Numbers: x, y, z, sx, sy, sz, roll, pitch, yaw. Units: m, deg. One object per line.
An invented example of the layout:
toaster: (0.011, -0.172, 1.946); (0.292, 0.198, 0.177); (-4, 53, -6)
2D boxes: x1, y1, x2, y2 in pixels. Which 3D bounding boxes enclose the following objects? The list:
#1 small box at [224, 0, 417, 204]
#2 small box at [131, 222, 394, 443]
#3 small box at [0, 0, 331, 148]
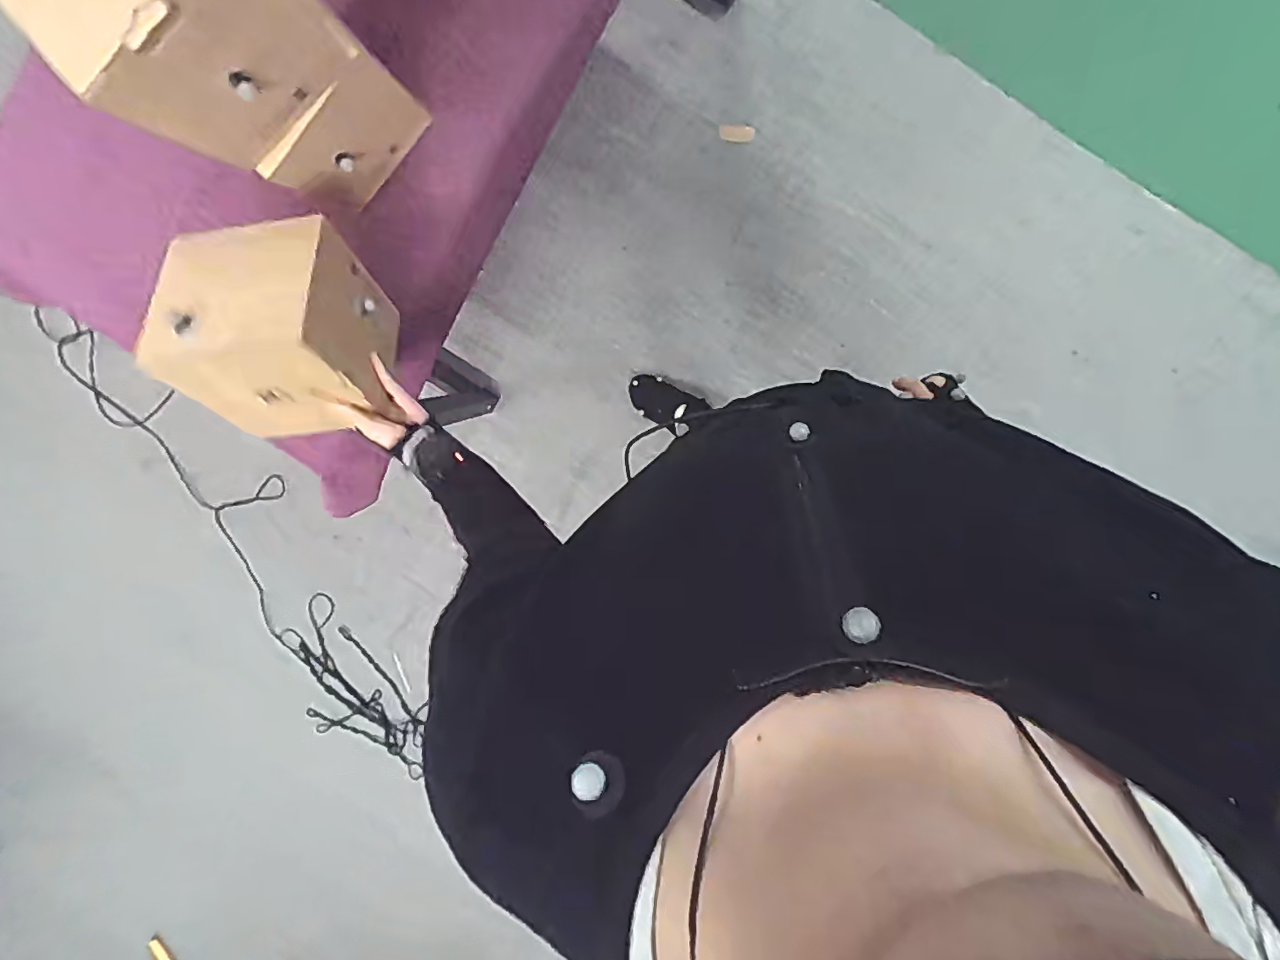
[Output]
small box: (-0.400, -0.451, 0.623); (0.168, 0.176, 0.179); (-43, 95, 12)
small box: (-0.402, -0.159, 0.612); (0.179, 0.168, 0.176); (-7, 71, 3)
small box: (-0.417, -0.424, 0.463); (0.168, 0.176, 0.179); (-36, 97, 12)
